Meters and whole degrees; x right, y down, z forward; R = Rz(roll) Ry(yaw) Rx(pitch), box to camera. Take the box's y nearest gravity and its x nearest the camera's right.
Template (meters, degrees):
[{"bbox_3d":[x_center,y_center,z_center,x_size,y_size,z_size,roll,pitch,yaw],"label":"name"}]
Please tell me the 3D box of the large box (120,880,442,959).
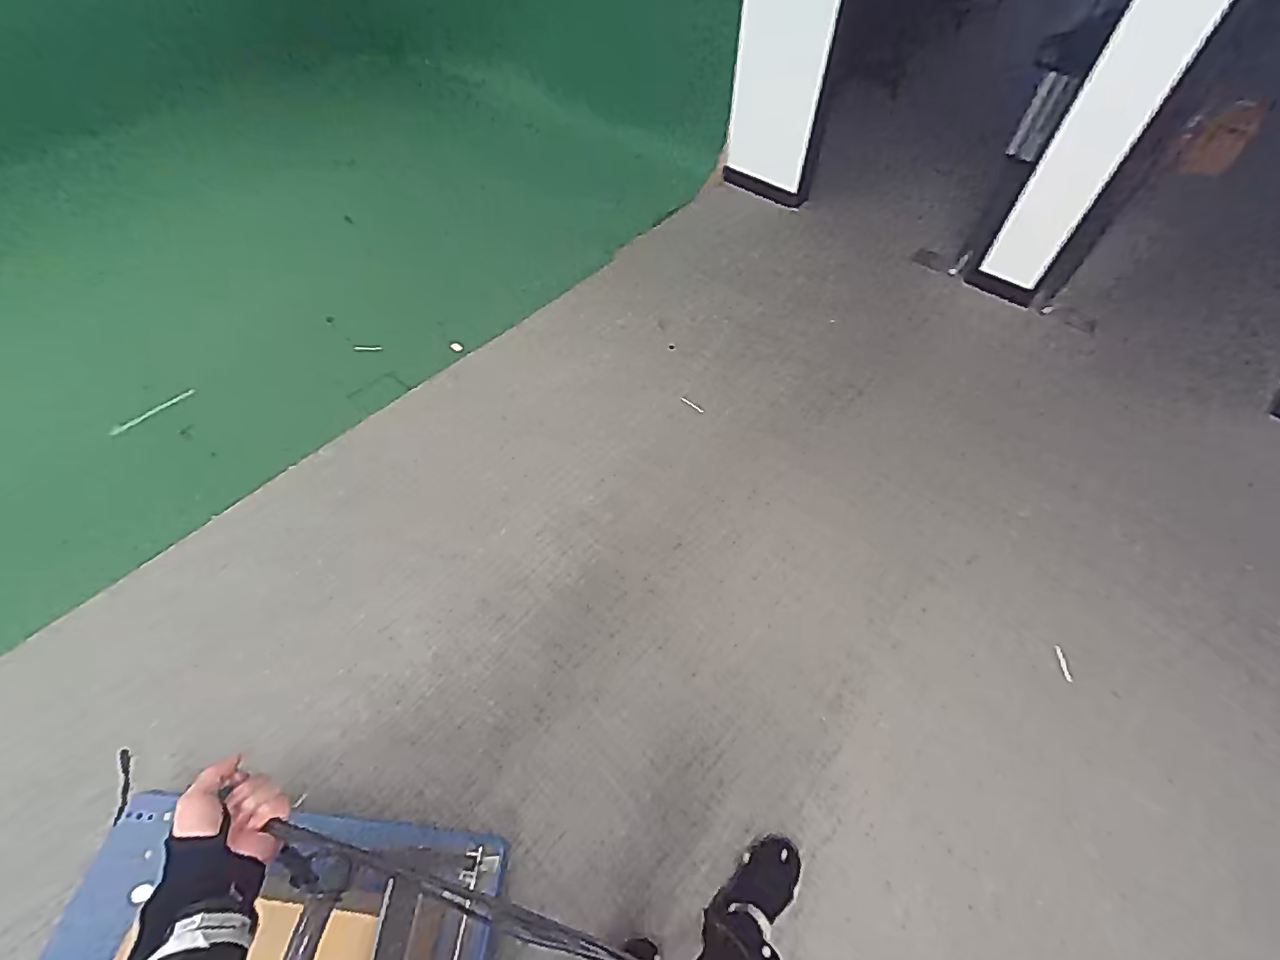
[{"bbox_3d":[-0.610,0.891,0.912,0.408,0.320,0.320,4,55,4],"label":"large box"}]
